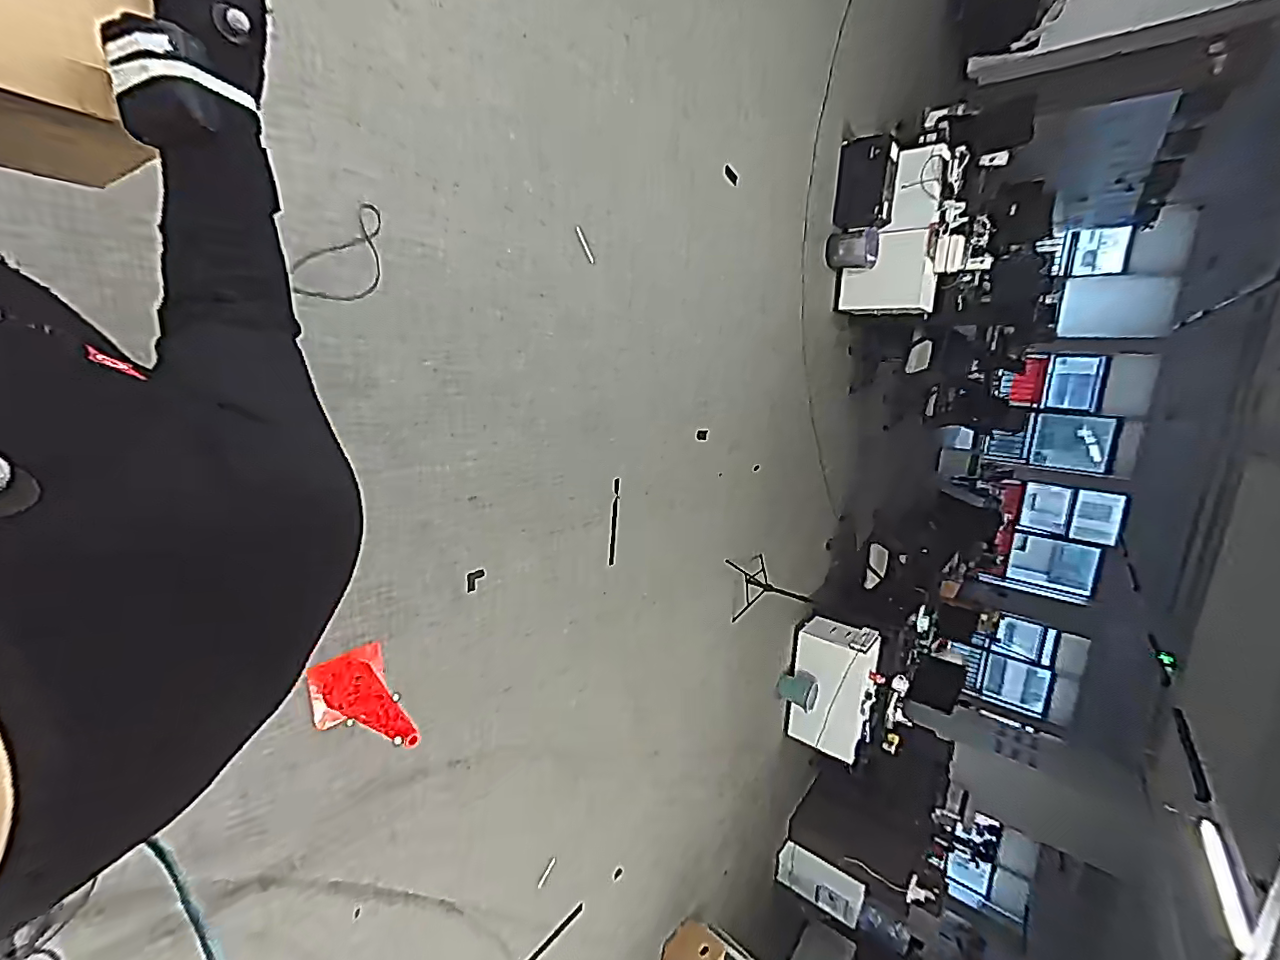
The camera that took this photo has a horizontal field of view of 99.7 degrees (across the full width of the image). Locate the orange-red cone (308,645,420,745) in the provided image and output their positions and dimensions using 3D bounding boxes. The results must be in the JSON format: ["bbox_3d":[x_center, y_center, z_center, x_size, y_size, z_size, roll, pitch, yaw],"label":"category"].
[{"bbox_3d":[-0.705,0.617,1.450,0.198,0.360,0.199,-16,111,-51],"label":"orange-red cone"}]

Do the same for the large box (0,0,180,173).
[{"bbox_3d":[-0.579,-0.424,0.311,0.408,0.320,0.320,-11,110,-53],"label":"large box"}]
